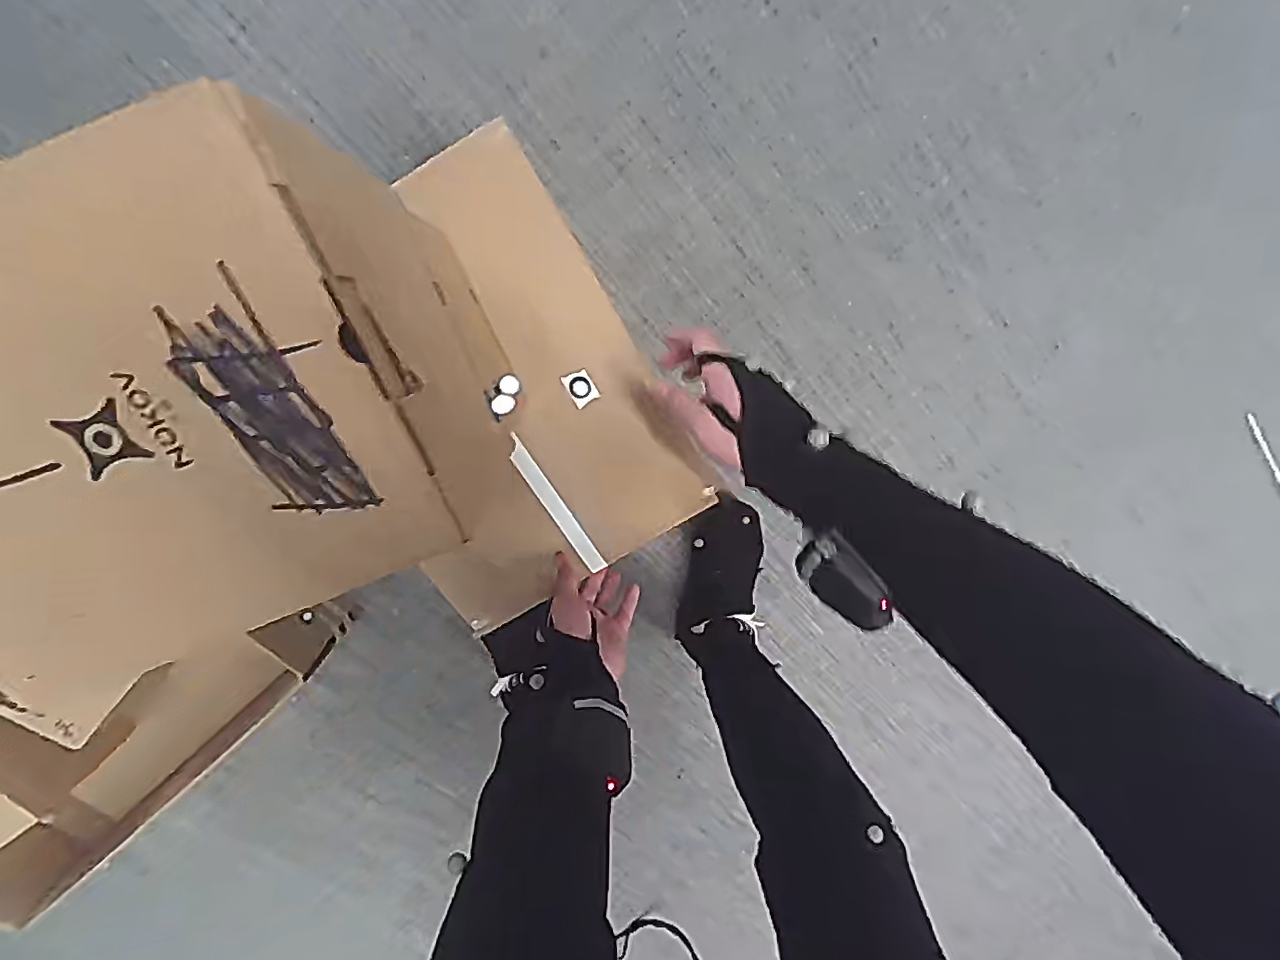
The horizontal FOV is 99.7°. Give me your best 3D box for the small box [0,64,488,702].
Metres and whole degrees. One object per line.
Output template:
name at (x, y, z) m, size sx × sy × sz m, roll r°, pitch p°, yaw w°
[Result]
small box at (-0.186, -0.041, 0.254) m, size 0.179 × 0.176 × 0.168 m, roll -21°, pitch 108°, yaw 1°
